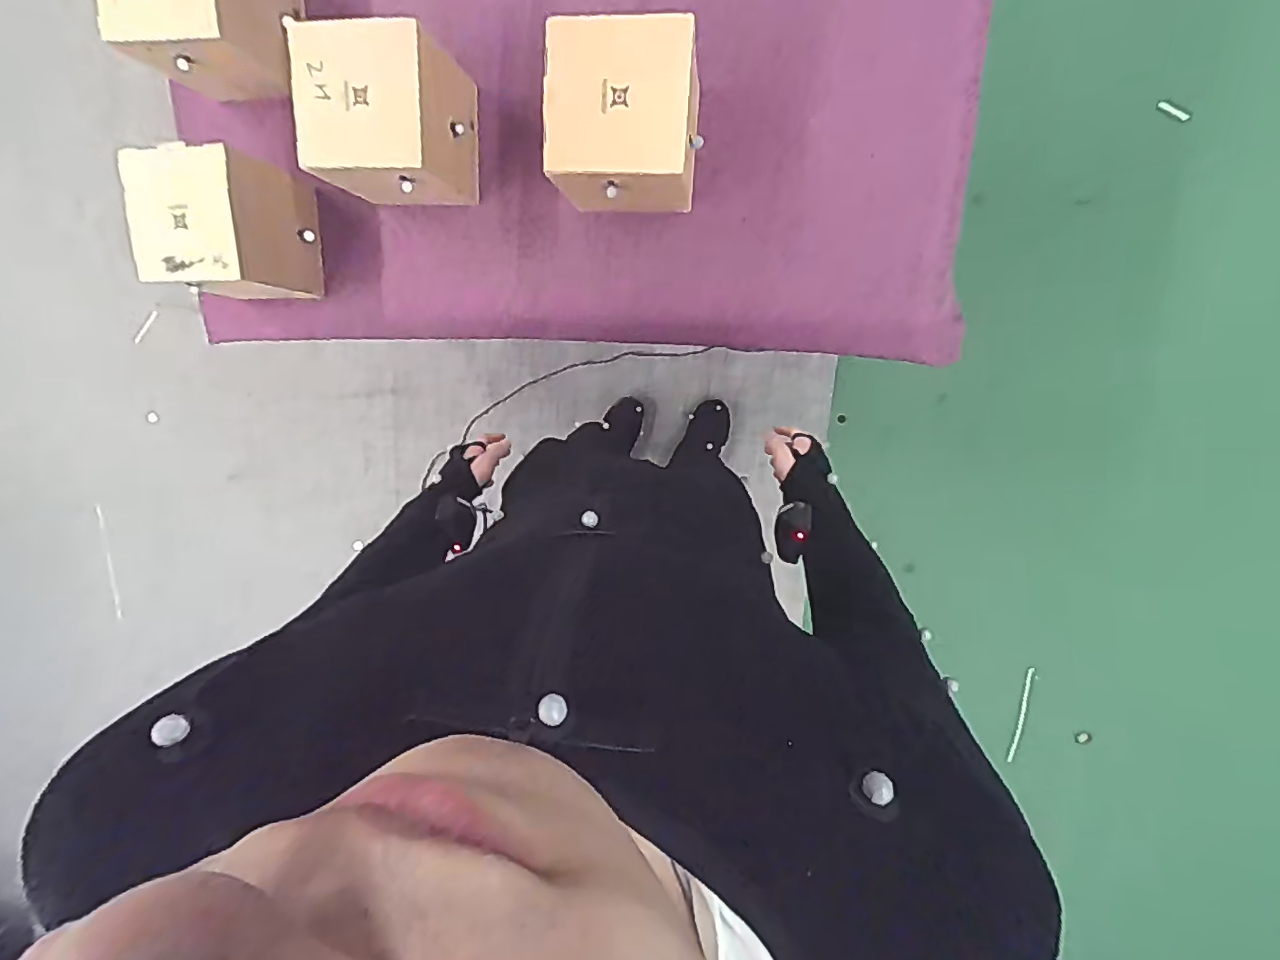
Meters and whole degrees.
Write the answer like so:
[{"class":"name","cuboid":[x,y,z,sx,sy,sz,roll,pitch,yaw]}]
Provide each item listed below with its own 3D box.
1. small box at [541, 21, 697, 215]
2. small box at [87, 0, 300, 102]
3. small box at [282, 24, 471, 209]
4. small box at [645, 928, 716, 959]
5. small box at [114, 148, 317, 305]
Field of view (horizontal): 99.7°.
[{"class":"small box","cuboid":[-0.020,-0.457,0.707,0.179,0.176,0.168,5,103,8]},{"class":"small box","cuboid":[-0.607,-0.652,0.749,0.179,0.176,0.168,4,103,7]},{"class":"small box","cuboid":[-0.346,-0.486,0.746,0.179,0.176,0.168,4,102,7]},{"class":"small box","cuboid":[0.116,1.421,1.520,0.179,0.176,0.168,-27,97,12]},{"class":"small box","cuboid":[-0.619,-0.367,0.810,0.168,0.176,0.179,3,101,9]}]
